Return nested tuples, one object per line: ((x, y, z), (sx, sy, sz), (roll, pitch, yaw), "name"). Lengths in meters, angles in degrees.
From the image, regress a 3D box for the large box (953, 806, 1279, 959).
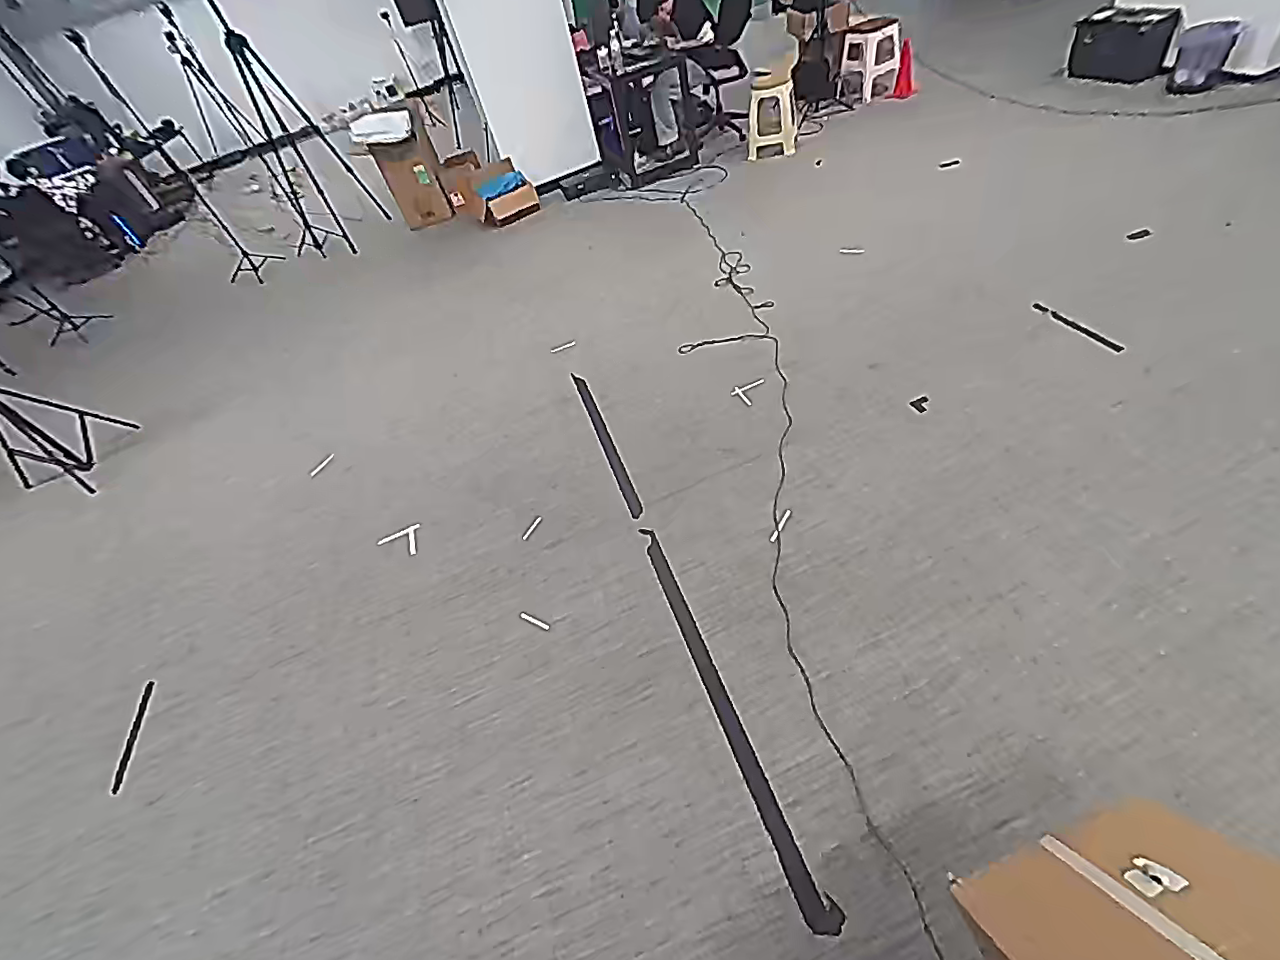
((0.647, 0.642, 0.569), (0.320, 0.408, 0.320), (-23, 81, -2), "large box")
